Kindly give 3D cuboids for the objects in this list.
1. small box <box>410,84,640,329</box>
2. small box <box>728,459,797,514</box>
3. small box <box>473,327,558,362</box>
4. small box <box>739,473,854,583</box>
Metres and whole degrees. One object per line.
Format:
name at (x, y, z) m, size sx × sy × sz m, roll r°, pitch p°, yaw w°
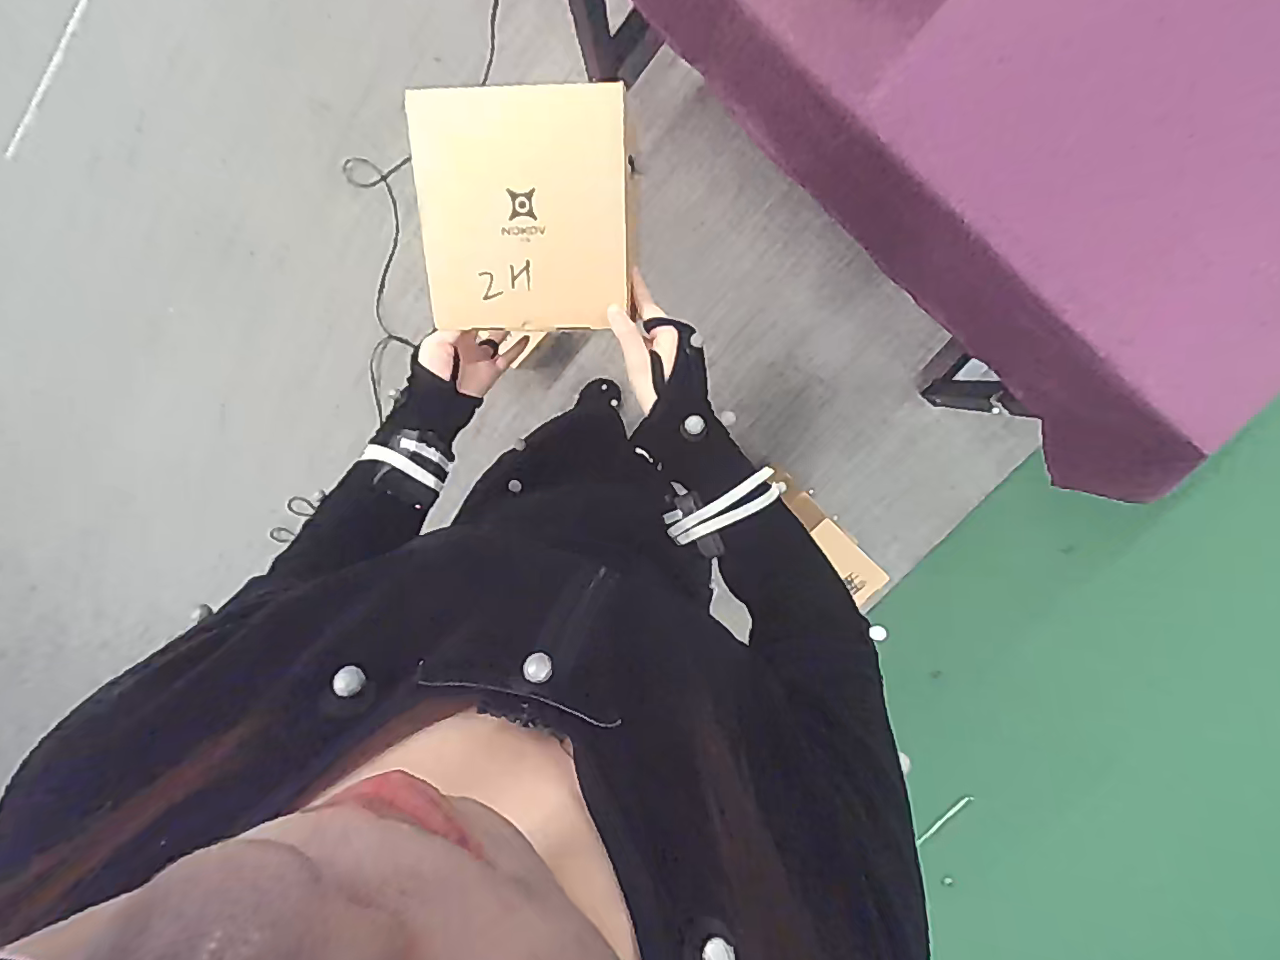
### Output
small box at (-0.088, -0.238, 0.505) m, size 0.168 × 0.176 × 0.179 m, roll 1°, pitch 111°, yaw 4°
small box at (0.352, 0.060, 1.414) m, size 0.179 × 0.176 × 0.168 m, roll 44°, pitch 100°, yaw -8°
small box at (-0.300, -0.408, 1.332) m, size 0.168 × 0.176 × 0.179 m, roll 43°, pitch 99°, yaw -8°
small box at (0.353, 0.101, 1.257) m, size 0.179 × 0.176 × 0.168 m, roll 41°, pitch 101°, yaw -8°
